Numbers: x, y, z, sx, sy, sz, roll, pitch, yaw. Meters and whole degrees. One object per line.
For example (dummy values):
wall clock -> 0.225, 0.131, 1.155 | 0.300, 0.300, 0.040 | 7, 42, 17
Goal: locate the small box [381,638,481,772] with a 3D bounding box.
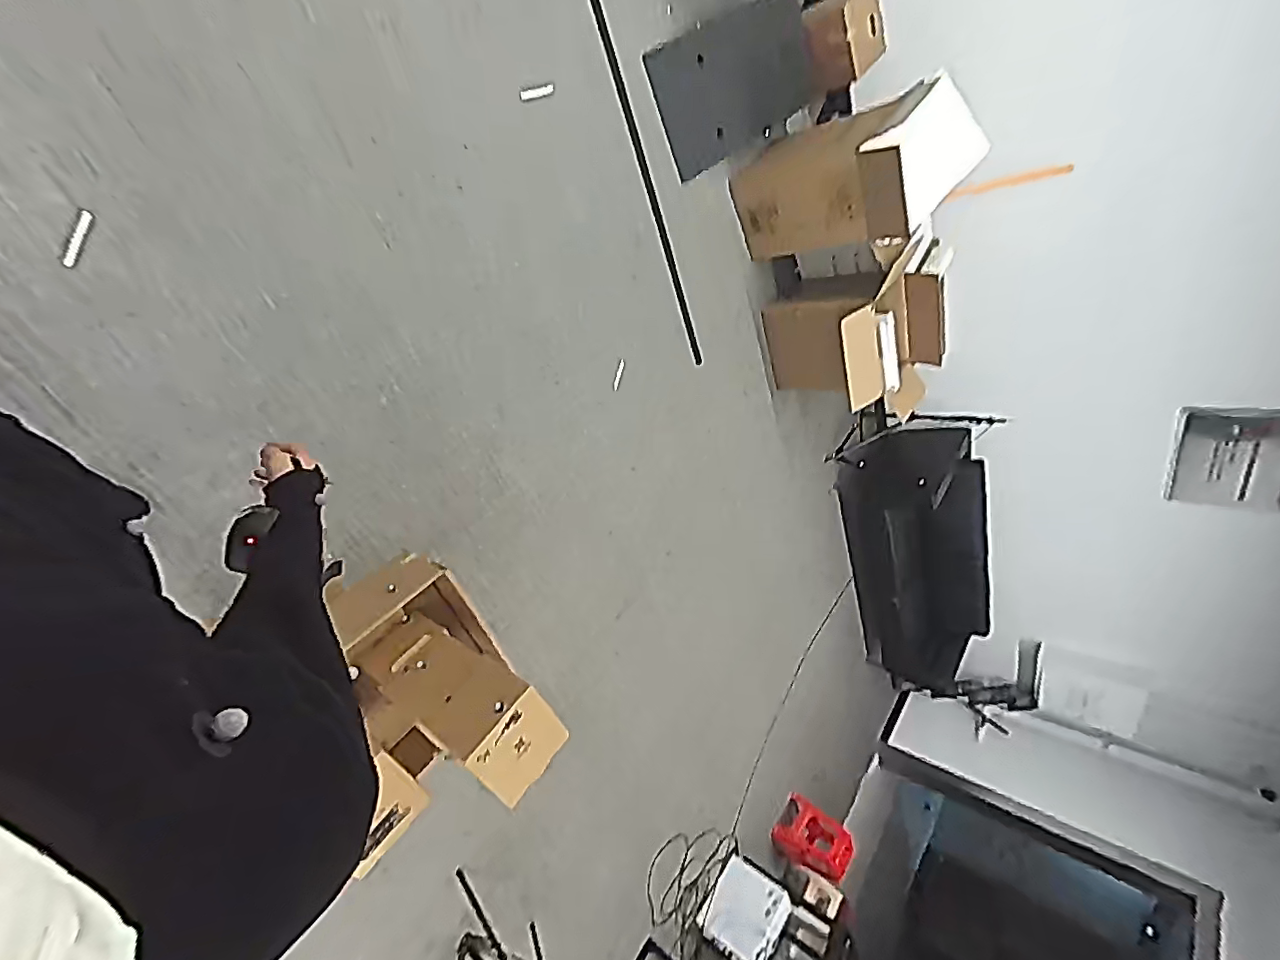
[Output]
small box -> -0.406, 0.466, 1.146 | 0.168, 0.176, 0.179 | -46, 128, -33

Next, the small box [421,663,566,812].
small box -> -0.281, 0.484, 1.040 | 0.168, 0.176, 0.179 | -46, 129, -33
